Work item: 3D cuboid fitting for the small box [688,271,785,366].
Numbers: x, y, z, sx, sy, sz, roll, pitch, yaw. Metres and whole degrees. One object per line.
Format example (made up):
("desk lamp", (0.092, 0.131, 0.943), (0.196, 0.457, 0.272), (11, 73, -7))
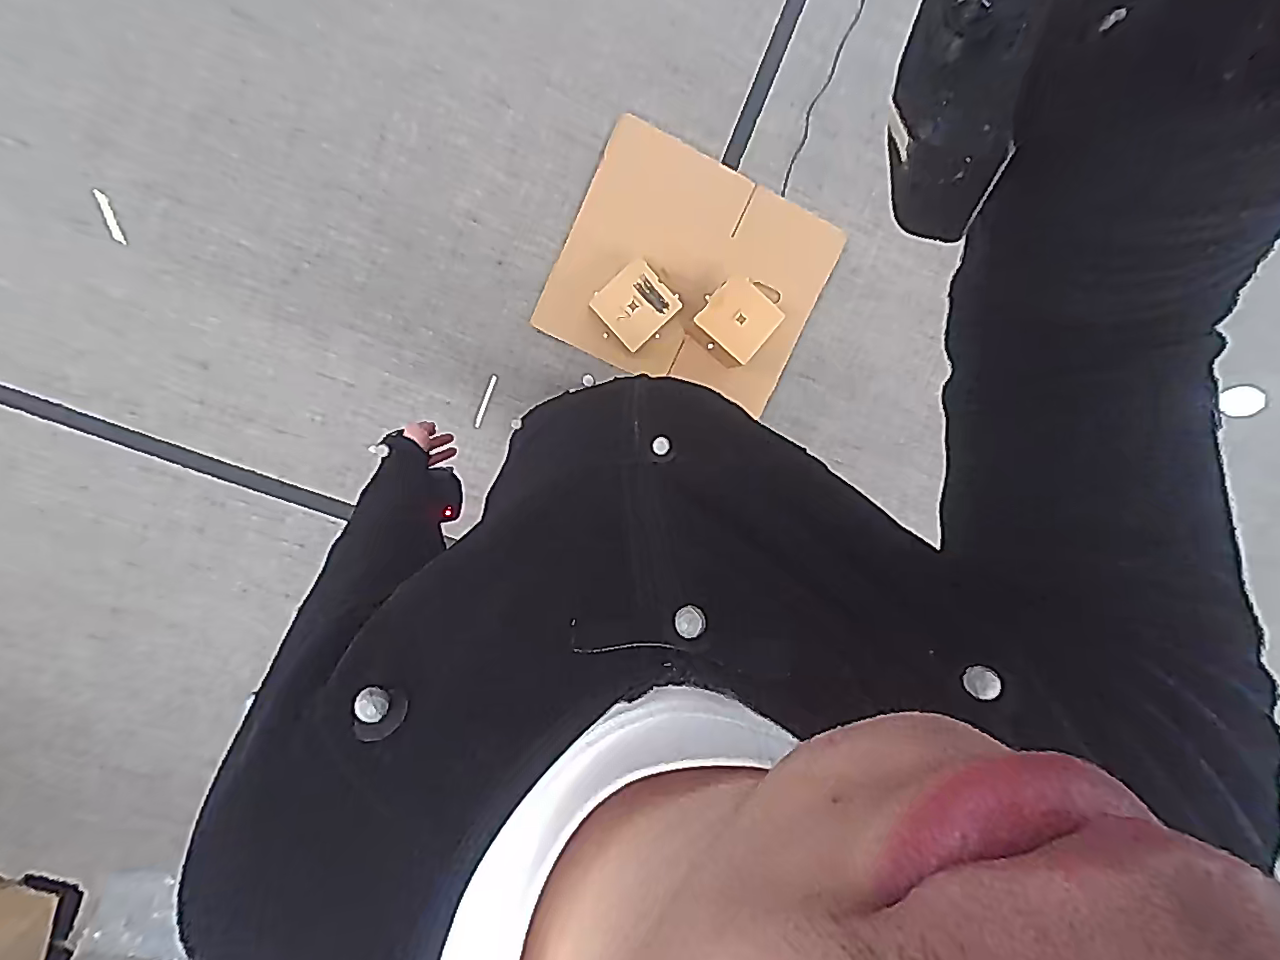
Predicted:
("small box", (0.250, -0.421, 1.446), (0.179, 0.176, 0.168), (40, 94, -6))
